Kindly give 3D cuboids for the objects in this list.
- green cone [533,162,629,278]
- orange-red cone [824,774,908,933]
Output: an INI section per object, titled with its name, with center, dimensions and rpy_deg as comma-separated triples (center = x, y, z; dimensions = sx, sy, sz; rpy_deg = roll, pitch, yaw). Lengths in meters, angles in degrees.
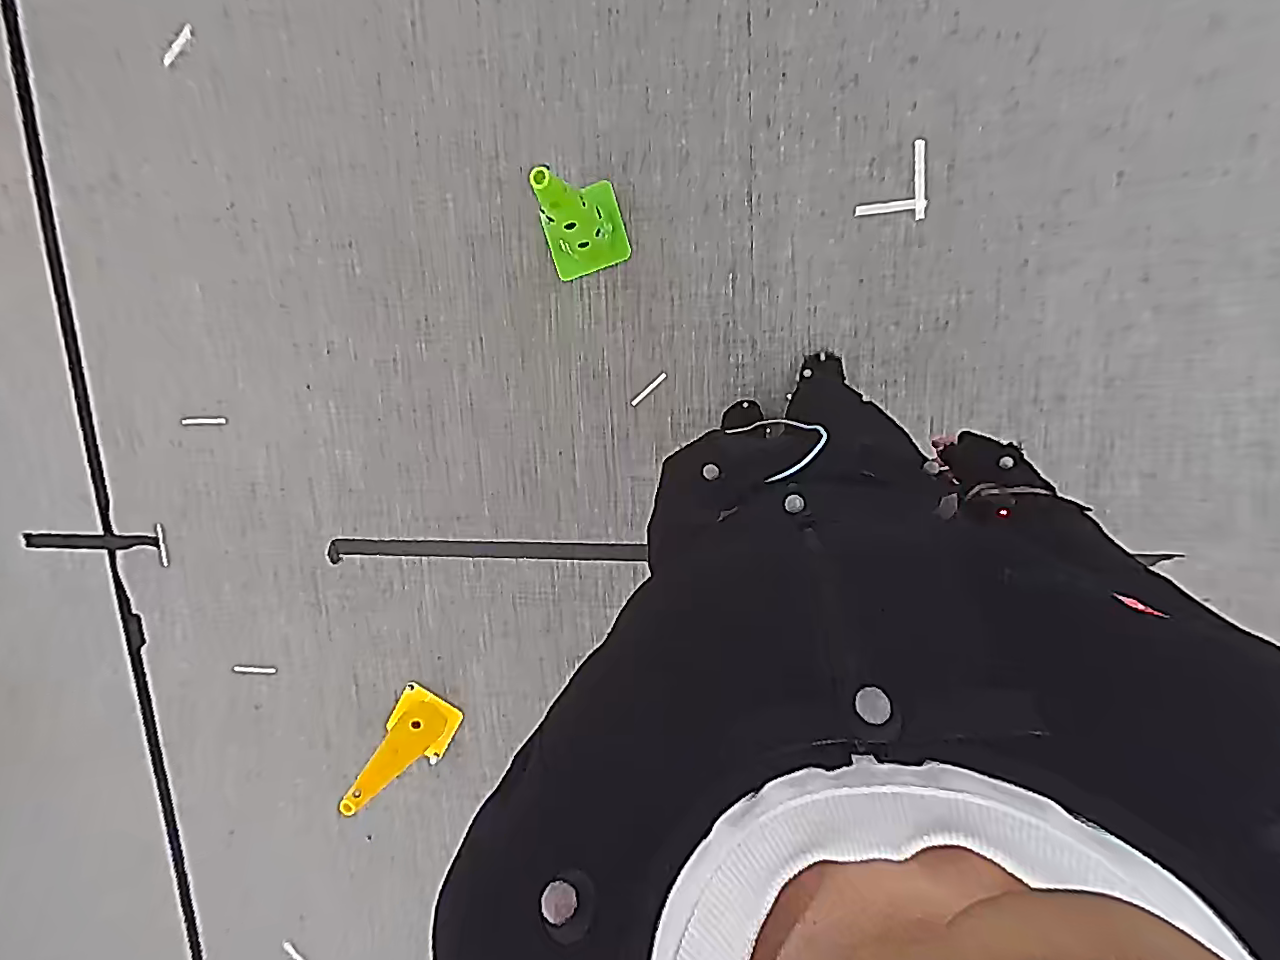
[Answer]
[green cone]
center = -0.166, -0.608, 1.206
dimensions = 0.202, 0.368, 0.200
rpy_deg = -17, 97, 10
[orange-red cone]
center = 0.585, 0.937, 1.335
dimensions = 0.199, 0.360, 0.198
rpy_deg = -1, 98, 10
